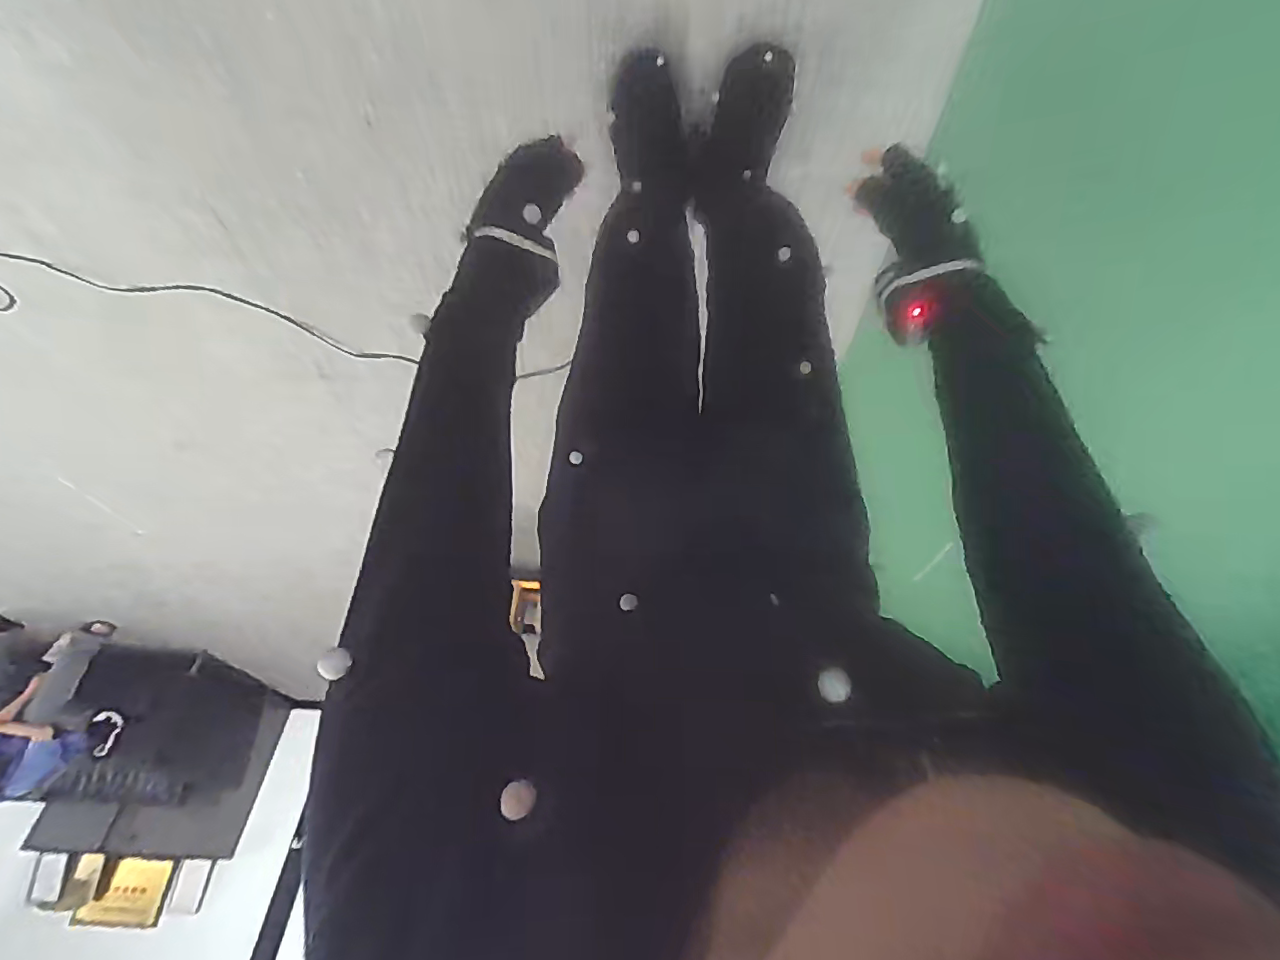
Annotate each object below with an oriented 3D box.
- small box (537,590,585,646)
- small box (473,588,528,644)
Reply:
[{"bbox_3d":[-0.316,0.558,2.190,0.168,0.176,0.179,4,142,2],"label":"small box"},{"bbox_3d":[-0.563,0.552,2.200,0.168,0.176,0.179,2,143,2],"label":"small box"}]
